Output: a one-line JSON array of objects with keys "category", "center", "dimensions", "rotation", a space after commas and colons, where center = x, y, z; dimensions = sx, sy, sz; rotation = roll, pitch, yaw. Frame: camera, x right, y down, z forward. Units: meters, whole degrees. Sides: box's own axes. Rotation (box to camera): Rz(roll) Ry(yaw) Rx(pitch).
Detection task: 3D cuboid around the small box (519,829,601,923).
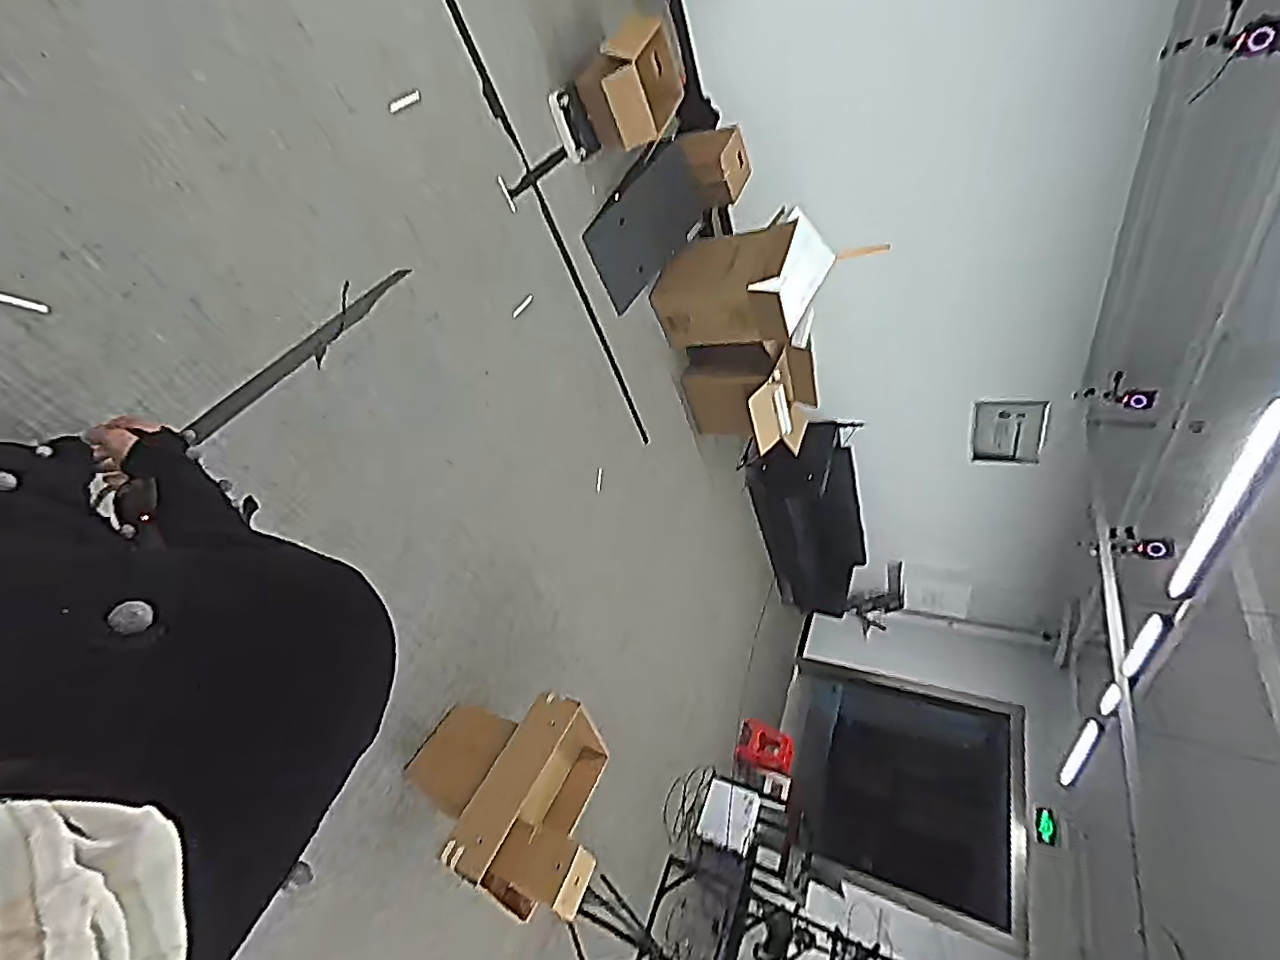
[{"category": "small box", "center": [-0.255, 1.259, 1.728], "dimensions": [0.179, 0.176, 0.168], "rotation": [-58, 140, -39]}]
